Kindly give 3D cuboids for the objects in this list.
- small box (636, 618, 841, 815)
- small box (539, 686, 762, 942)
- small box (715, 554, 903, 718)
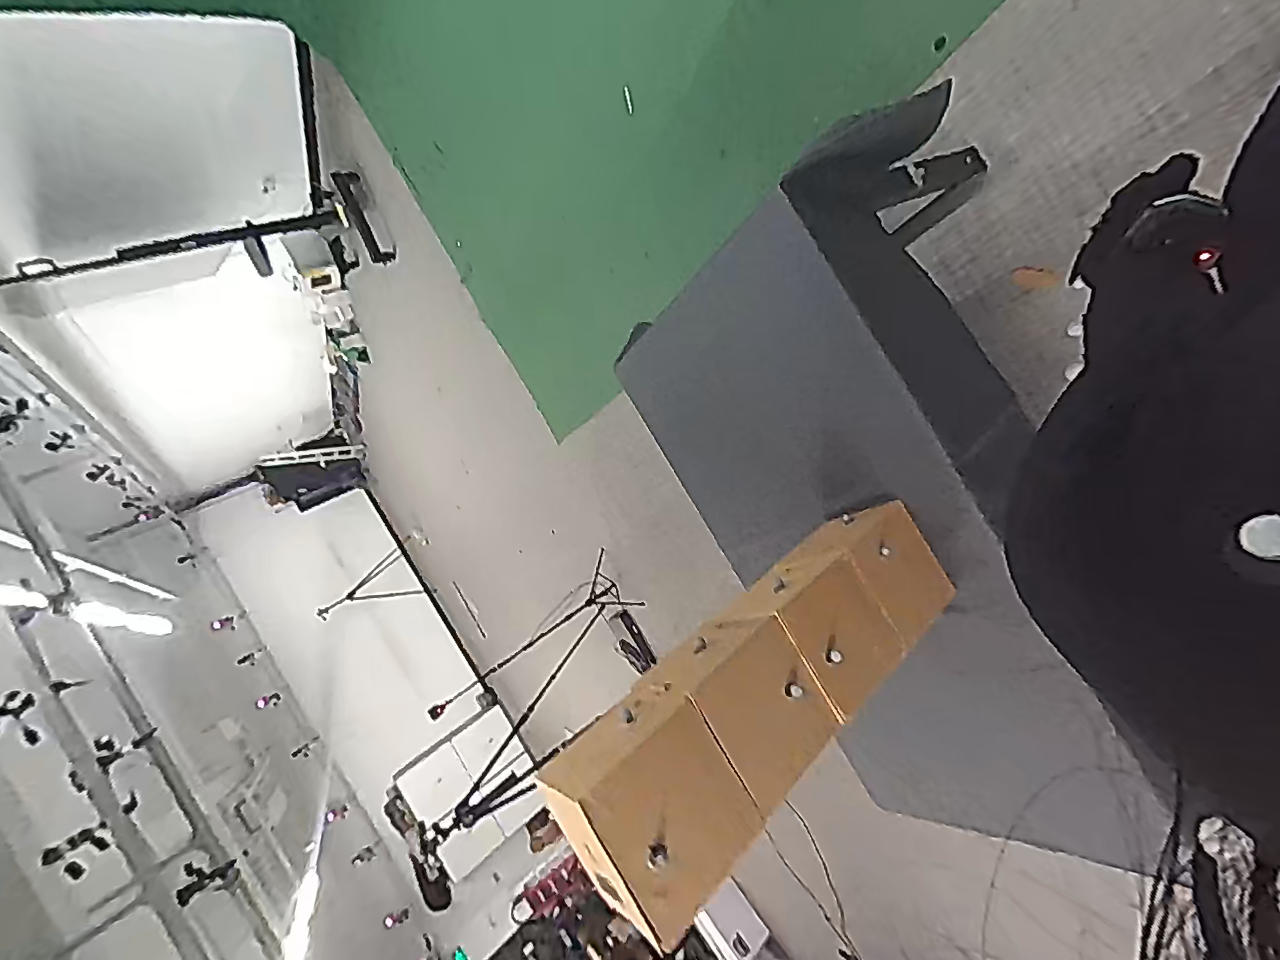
[{"bbox_3d":[0.132,0.301,0.736,0.179,0.176,0.168,60,148,1],"label":"small box"},{"bbox_3d":[0.012,0.378,0.651,0.179,0.176,0.168,59,148,2],"label":"small box"},{"bbox_3d":[0.253,0.227,0.817,0.179,0.176,0.168,58,148,2],"label":"small box"}]
